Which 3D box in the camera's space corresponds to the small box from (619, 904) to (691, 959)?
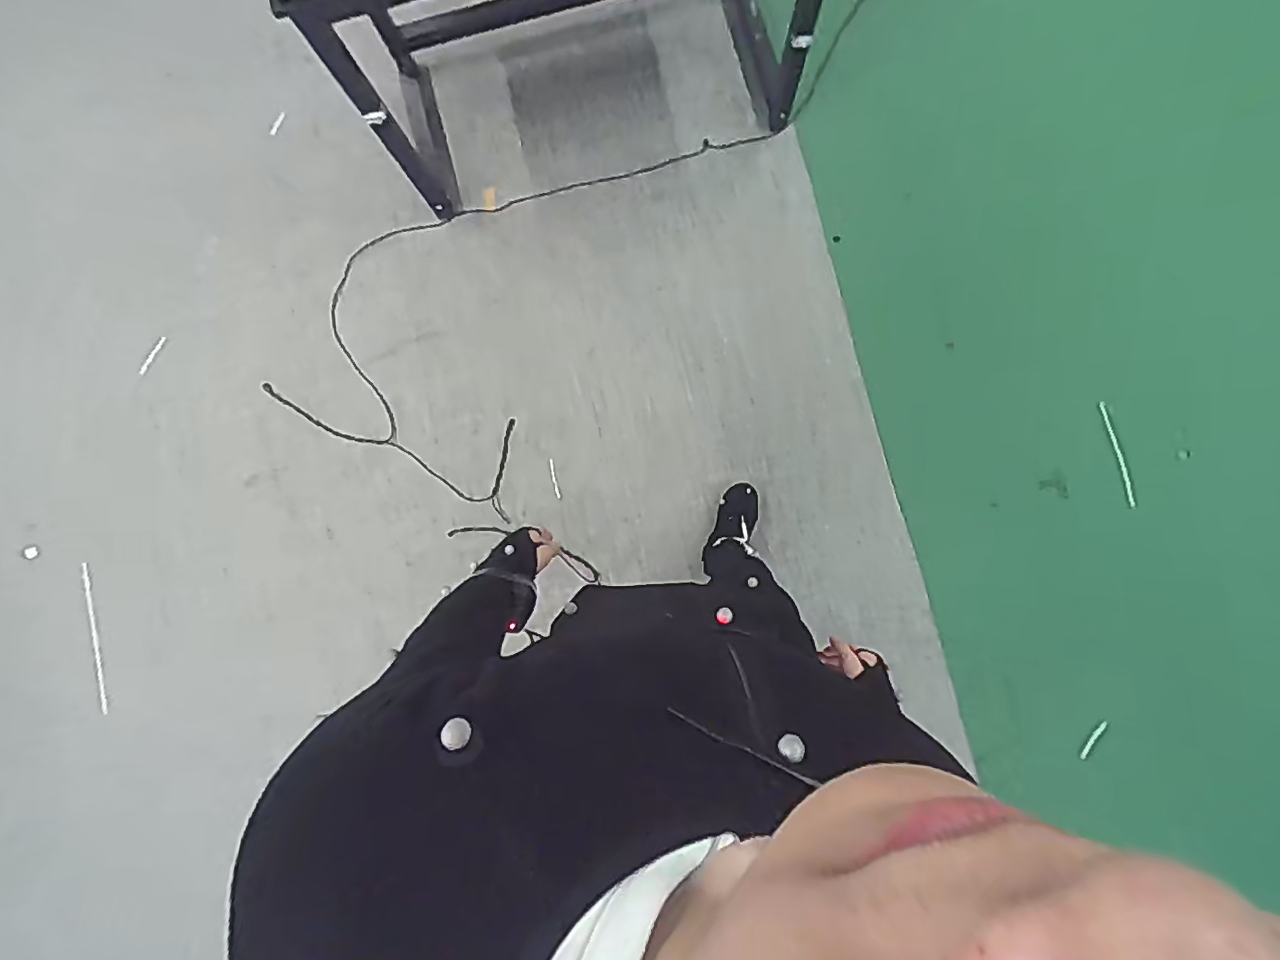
[{"bbox_3d":[0.044,1.246,1.404,0.168,0.176,0.179,-12,84,1],"label":"small box"}]
